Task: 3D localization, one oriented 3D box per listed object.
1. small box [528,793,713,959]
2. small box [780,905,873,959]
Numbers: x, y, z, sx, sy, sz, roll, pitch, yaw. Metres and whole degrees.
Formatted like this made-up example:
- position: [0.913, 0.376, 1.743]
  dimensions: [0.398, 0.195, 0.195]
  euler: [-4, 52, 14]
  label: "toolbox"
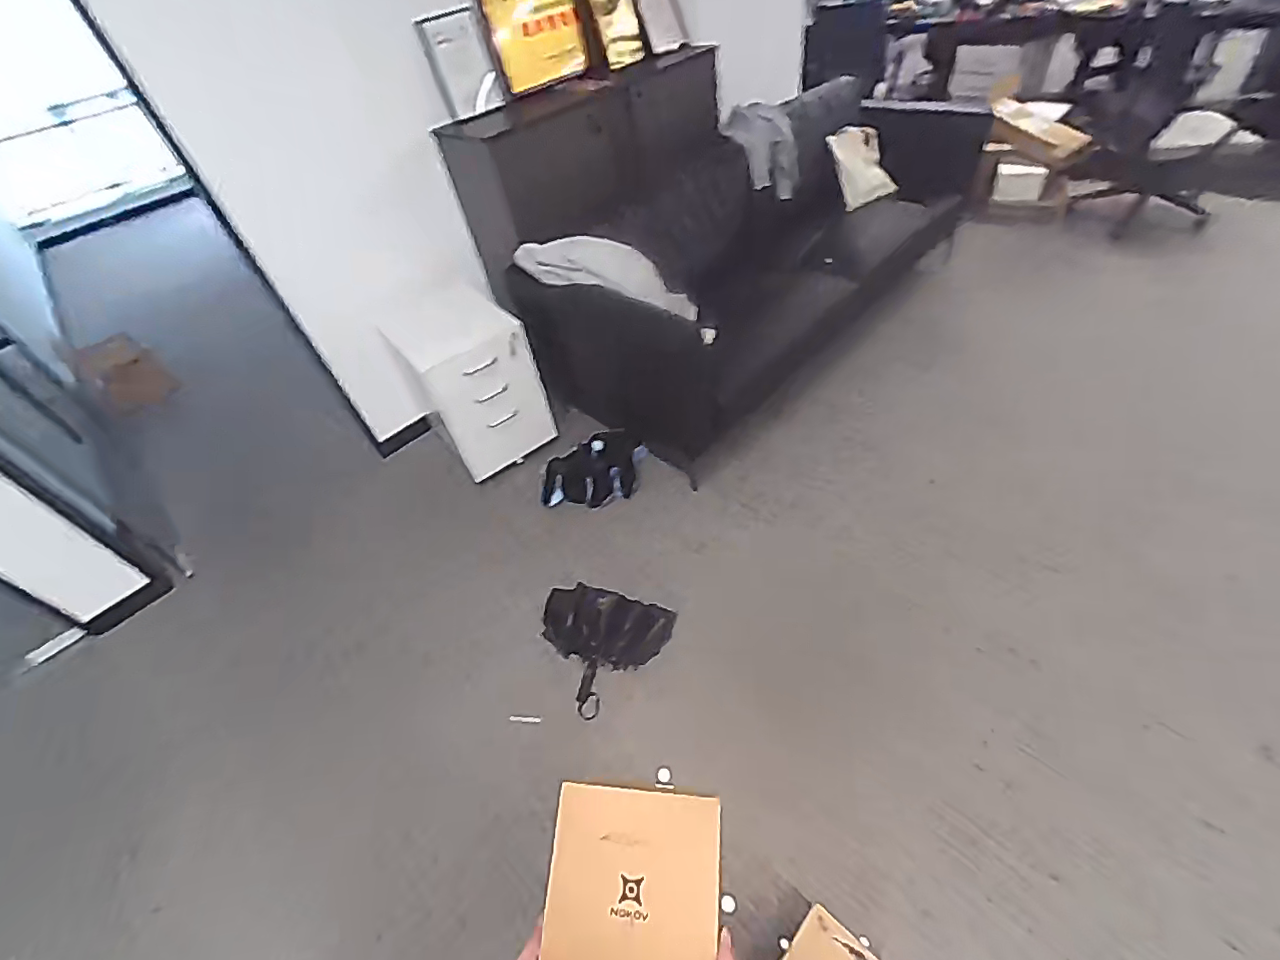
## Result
- position: [-0.009, 0.441, 0.567]
  dimensions: [0.168, 0.176, 0.179]
  euler: [0, 63, 8]
  label: "small box"
- position: [0.358, 0.974, 1.041]
  dimensions: [0.168, 0.176, 0.179]
  euler: [31, 60, 34]
  label: "small box"
